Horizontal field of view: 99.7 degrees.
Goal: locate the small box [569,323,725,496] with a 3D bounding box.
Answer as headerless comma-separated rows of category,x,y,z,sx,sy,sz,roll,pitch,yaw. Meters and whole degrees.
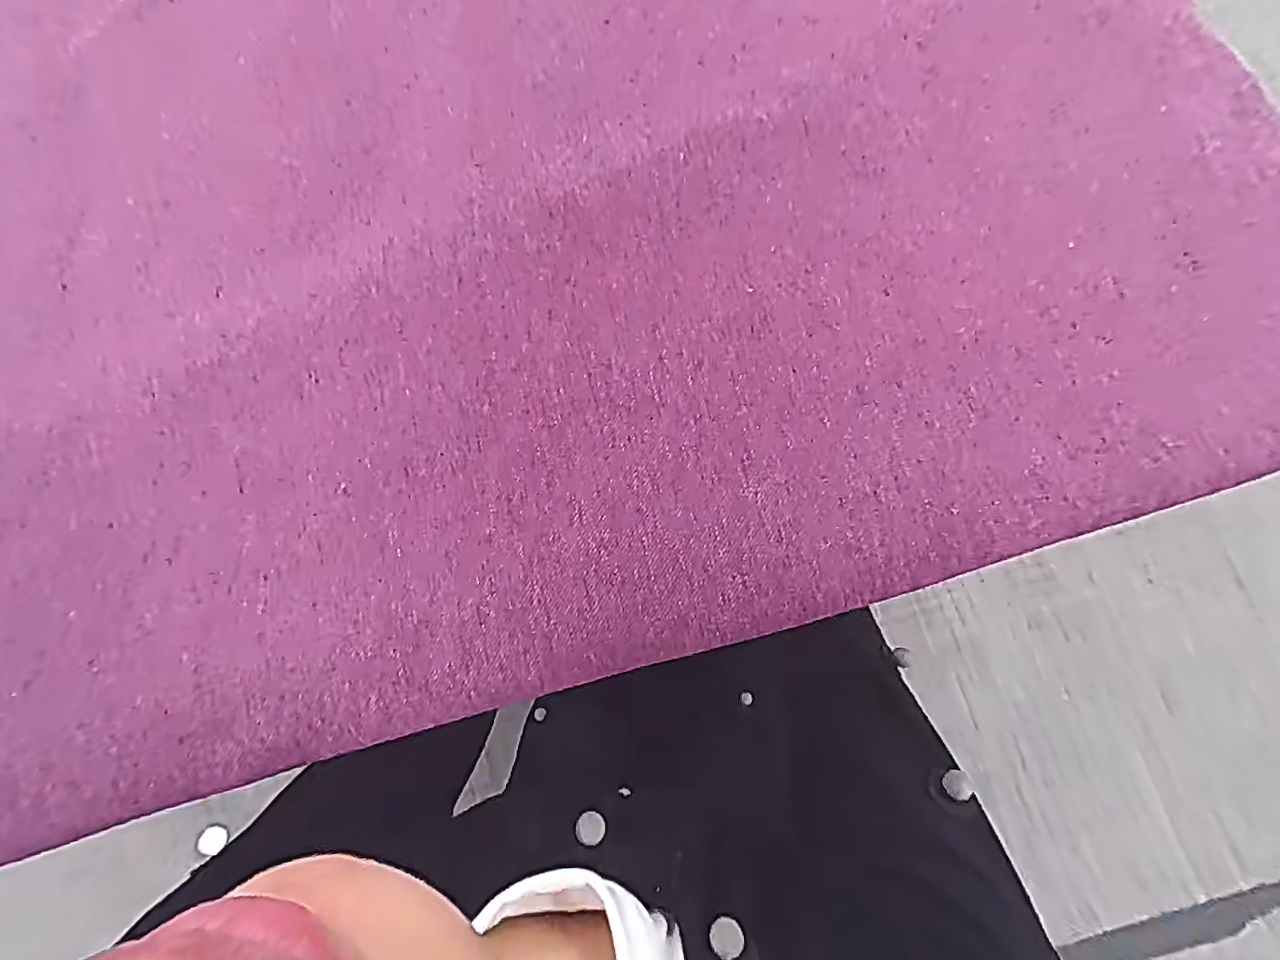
small box,0.009,-0.088,0.759,0.168,0.176,0.179,-16,81,0
